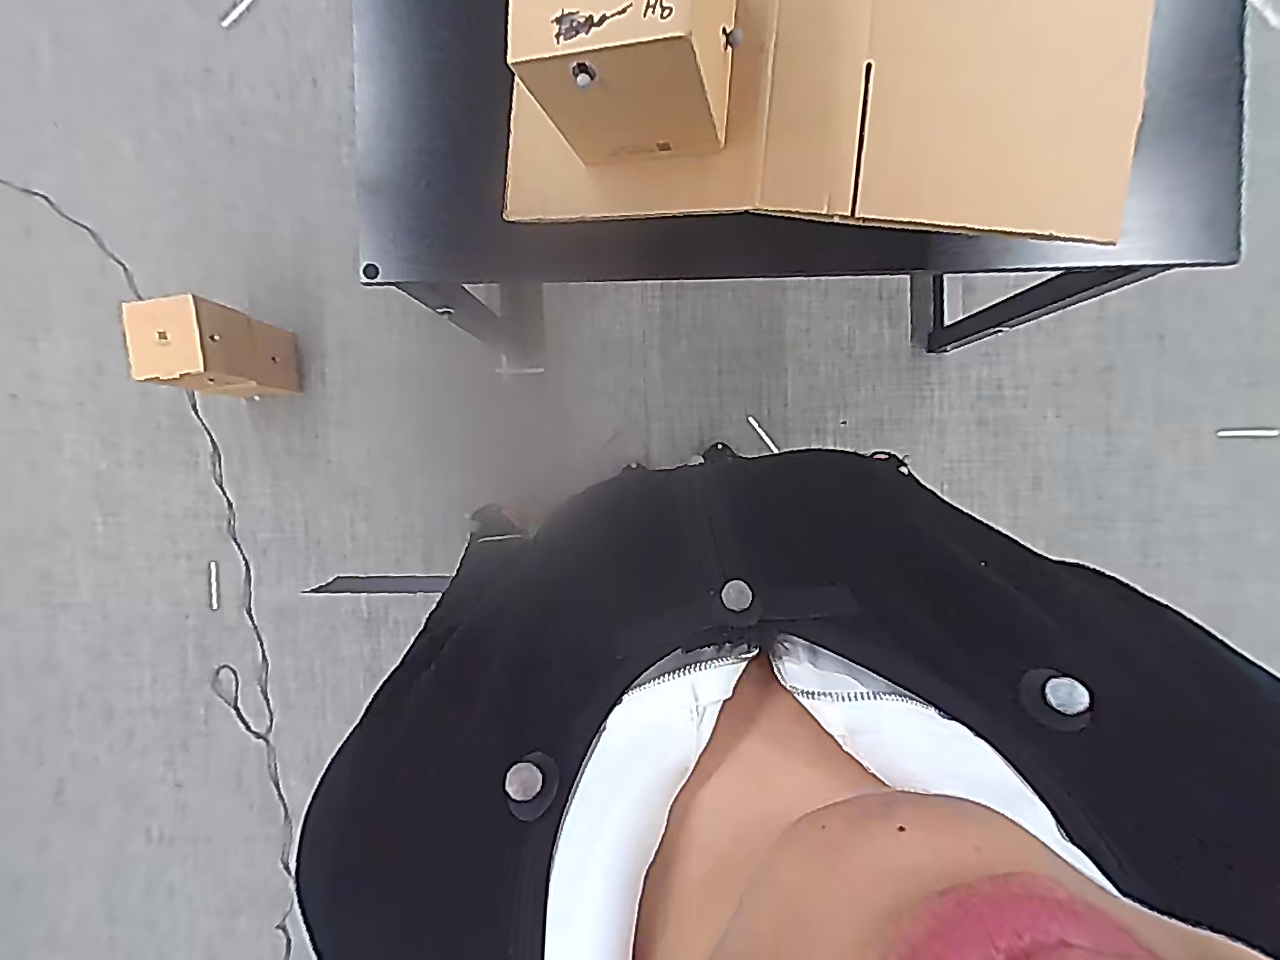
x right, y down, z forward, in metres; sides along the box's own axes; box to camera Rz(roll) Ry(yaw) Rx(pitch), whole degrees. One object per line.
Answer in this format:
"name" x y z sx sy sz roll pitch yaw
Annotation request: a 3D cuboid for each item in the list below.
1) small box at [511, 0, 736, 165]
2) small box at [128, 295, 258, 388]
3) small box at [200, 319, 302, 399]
"small box" -0.004 -0.442 0.521 0.168 0.176 0.179 5 92 18
"small box" -1.050 -0.319 1.287 0.168 0.176 0.179 -8 91 2
"small box" -1.042 -0.319 1.449 0.168 0.176 0.179 -4 92 2
